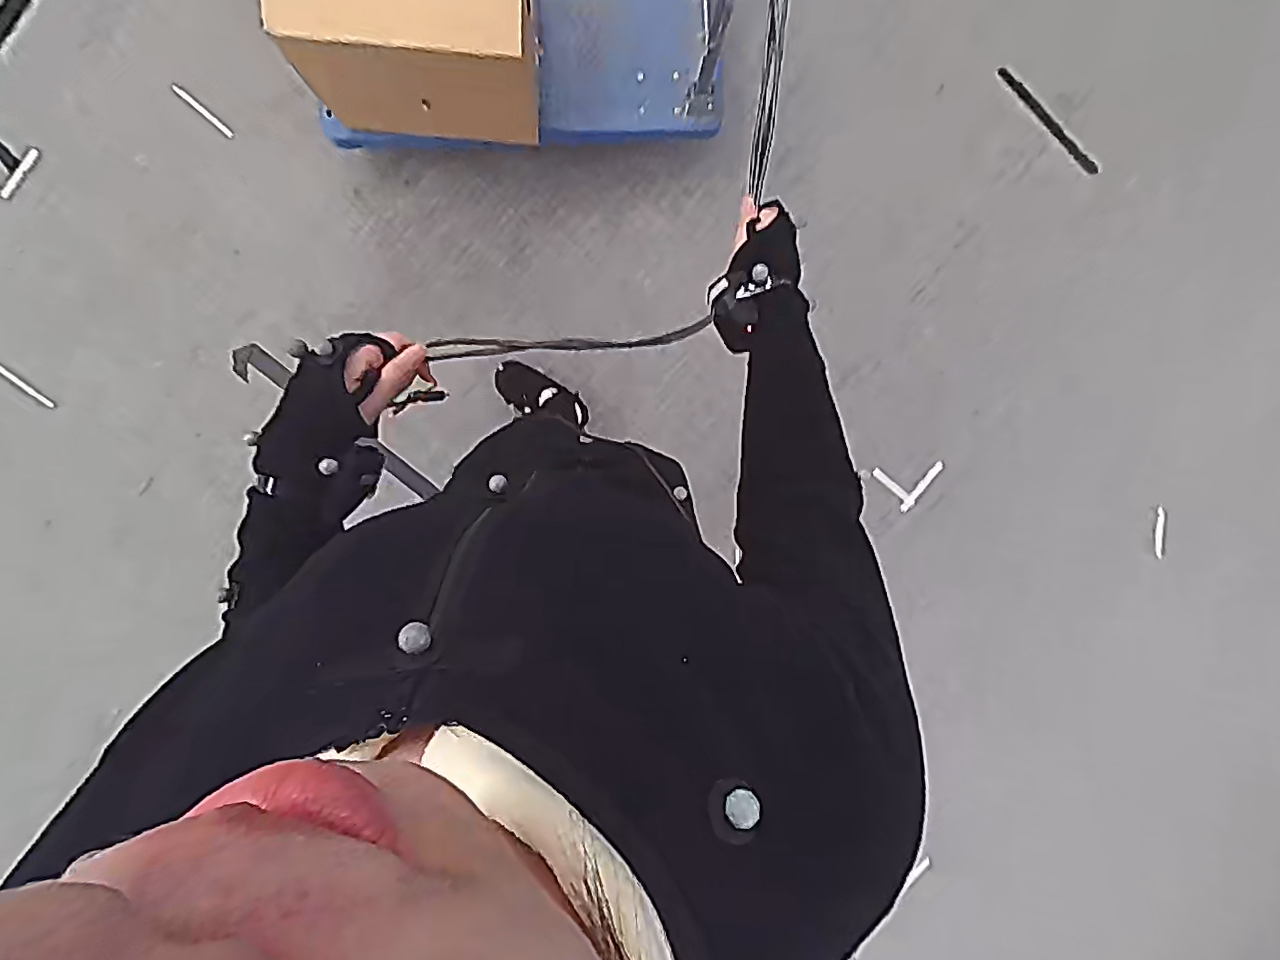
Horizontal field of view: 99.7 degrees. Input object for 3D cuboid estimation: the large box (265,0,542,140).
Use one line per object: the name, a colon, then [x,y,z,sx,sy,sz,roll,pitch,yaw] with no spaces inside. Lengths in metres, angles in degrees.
large box: [-0.396,-0.862,0.990,0.408,0.320,0.320,1,98,-5]
